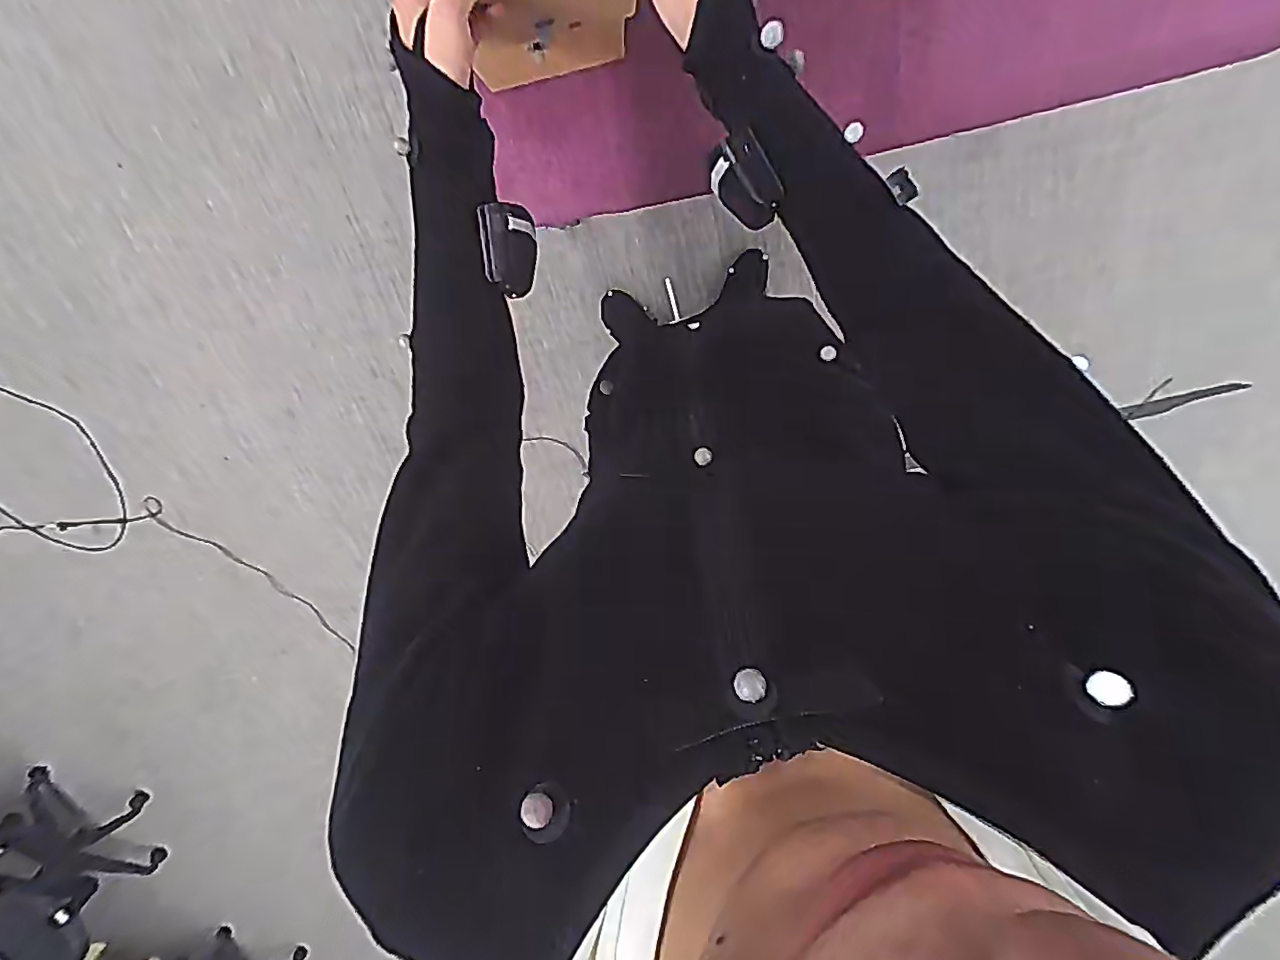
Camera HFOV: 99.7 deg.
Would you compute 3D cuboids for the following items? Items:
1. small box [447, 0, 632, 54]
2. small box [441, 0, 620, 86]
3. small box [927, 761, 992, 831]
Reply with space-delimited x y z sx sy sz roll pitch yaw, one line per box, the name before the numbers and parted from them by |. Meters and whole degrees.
small box | -0.100 -0.485 0.430 0.168 0.176 0.179 -13 115 3
small box | -0.121 -0.553 0.578 0.179 0.176 0.168 -12 114 2
small box | 1.325 1.310 2.248 0.168 0.176 0.179 -20 113 6
